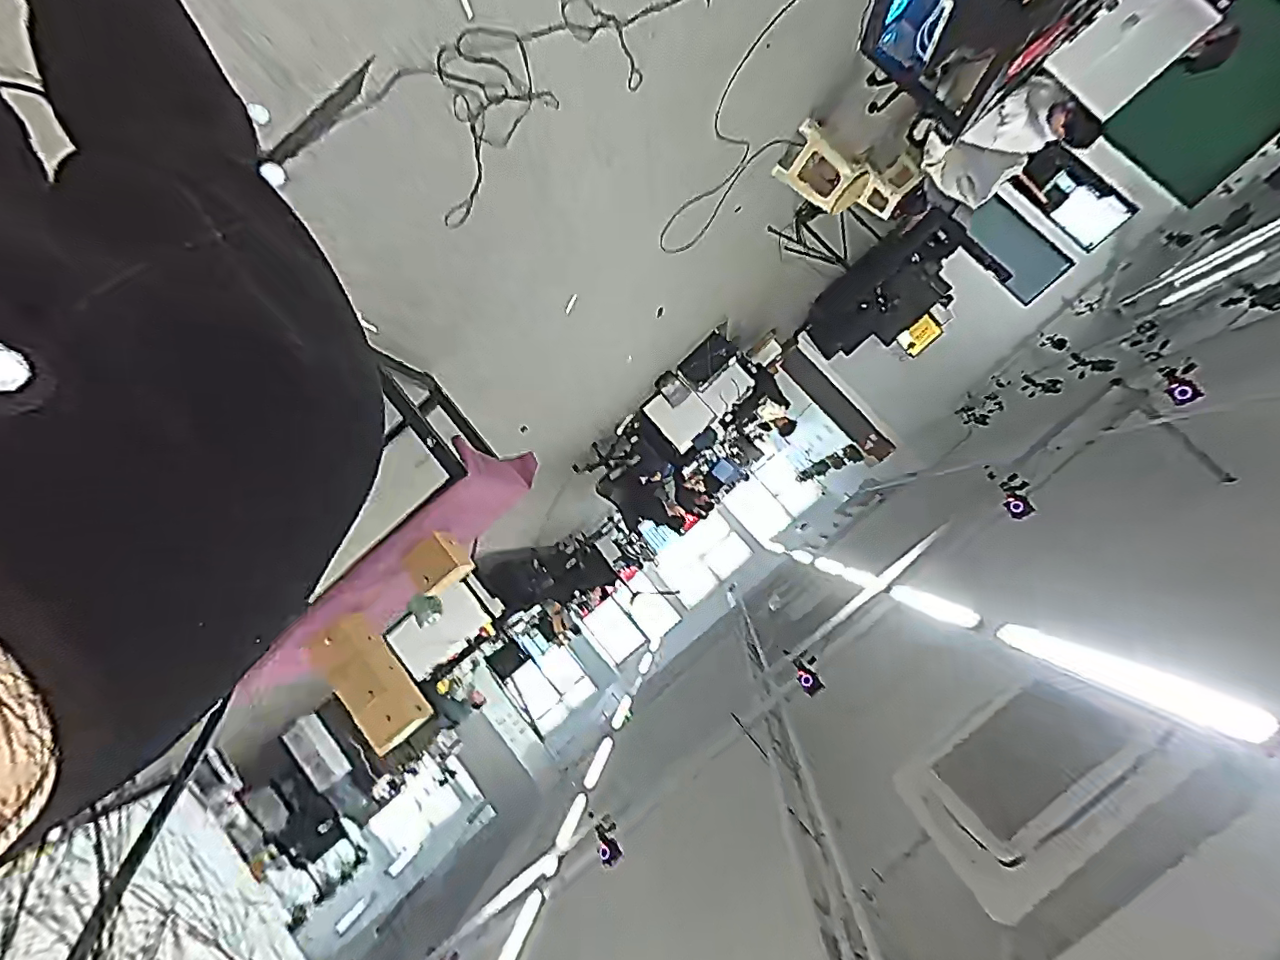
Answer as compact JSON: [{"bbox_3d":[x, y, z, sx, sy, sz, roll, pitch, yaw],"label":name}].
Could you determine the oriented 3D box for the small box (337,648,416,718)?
[{"bbox_3d":[-1.005,0.767,2.065,0.168,0.176,0.179,-42,172,-3],"label":"small box"}]

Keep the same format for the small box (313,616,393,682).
[{"bbox_3d":[-1.111,0.646,2.095,0.168,0.176,0.179,-42,171,-1],"label":"small box"}]

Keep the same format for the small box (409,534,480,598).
[{"bbox_3d":[-0.756,0.328,2.077,0.179,0.176,0.168,-42,172,-1],"label":"small box"}]

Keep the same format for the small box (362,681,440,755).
[{"bbox_3d":[-0.899,0.887,2.033,0.168,0.176,0.179,-42,172,-3],"label":"small box"}]
